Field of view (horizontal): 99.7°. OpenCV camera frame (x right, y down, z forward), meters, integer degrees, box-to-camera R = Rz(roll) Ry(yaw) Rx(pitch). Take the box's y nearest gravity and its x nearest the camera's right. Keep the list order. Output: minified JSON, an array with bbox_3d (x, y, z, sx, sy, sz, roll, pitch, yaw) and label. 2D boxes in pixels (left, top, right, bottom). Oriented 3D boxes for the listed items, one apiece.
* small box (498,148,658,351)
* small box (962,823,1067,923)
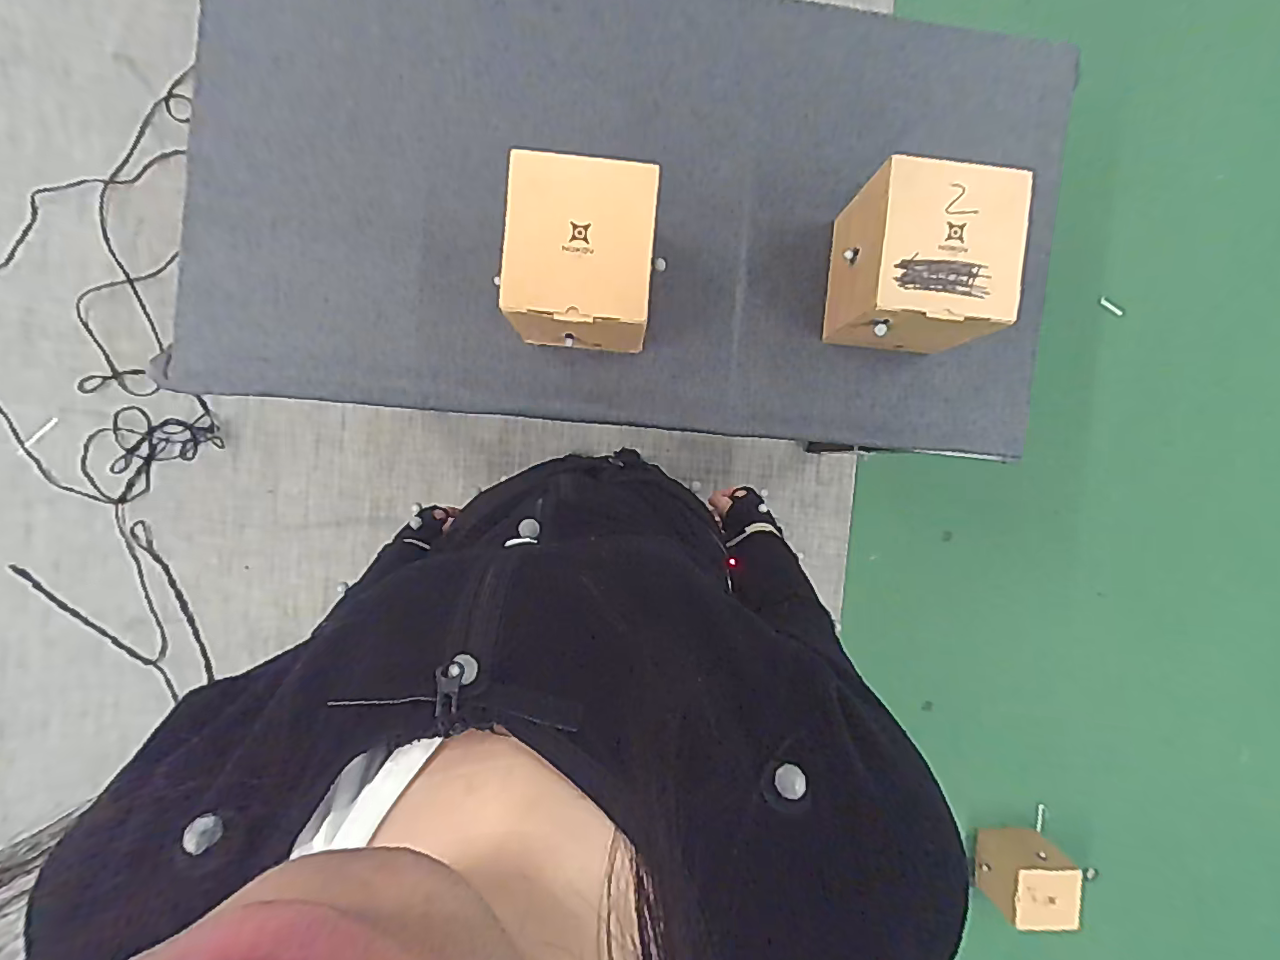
[{"bbox_3d":[-0.074,-0.271,0.674,0.168,0.176,0.179,5,93,-4],"label":"small box"},{"bbox_3d":[1.052,1.103,1.528,0.179,0.176,0.168,2,92,-3],"label":"small box"}]
